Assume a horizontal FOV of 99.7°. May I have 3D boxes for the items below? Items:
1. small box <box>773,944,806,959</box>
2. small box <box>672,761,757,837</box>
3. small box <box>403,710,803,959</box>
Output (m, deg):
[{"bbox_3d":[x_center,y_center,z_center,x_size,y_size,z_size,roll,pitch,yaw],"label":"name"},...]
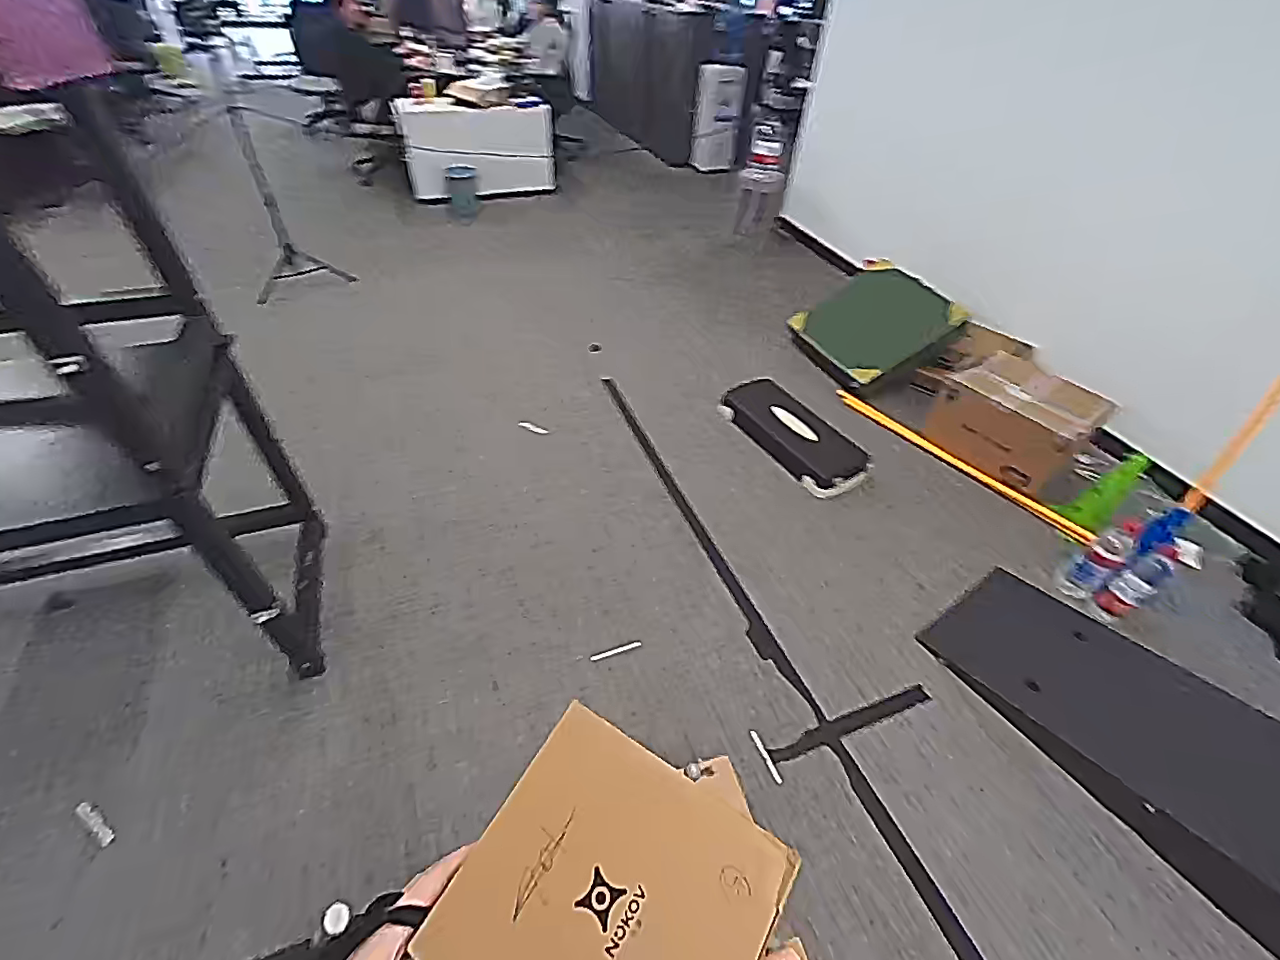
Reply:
[{"bbox_3d":[0.238,1.006,1.011,0.179,0.176,0.168,-8,47,-13],"label":"small box"},{"bbox_3d":[0.148,0.775,1.232,0.168,0.176,0.179,-9,47,-13],"label":"small box"},{"bbox_3d":[-0.012,0.297,0.371,0.179,0.176,0.168,24,58,24],"label":"small box"}]
